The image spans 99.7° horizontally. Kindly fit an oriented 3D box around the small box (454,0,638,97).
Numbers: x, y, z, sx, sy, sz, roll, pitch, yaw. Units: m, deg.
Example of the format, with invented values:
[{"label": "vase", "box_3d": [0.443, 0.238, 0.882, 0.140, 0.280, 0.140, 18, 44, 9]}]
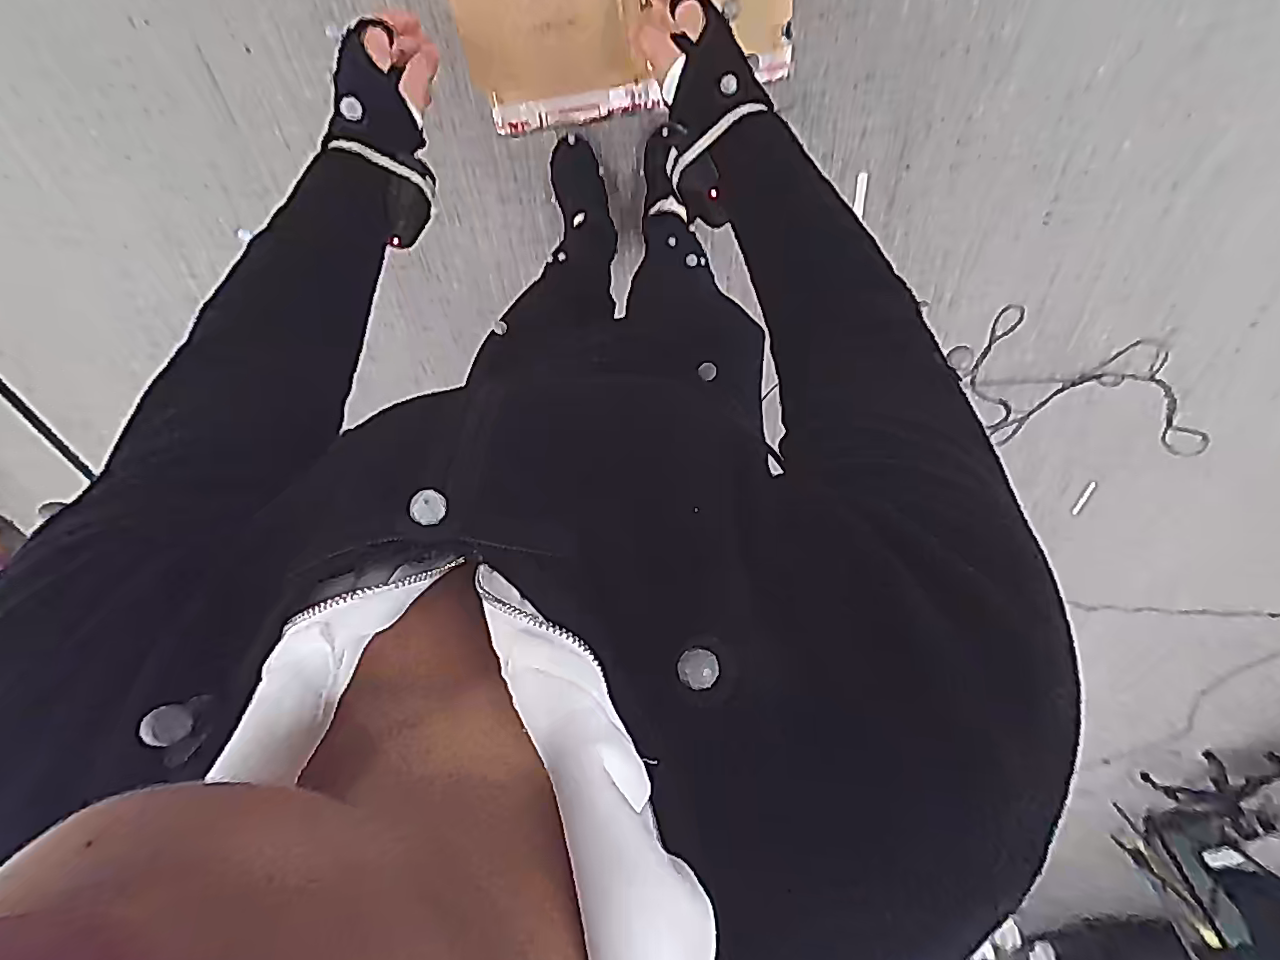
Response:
[{"label": "small box", "box_3d": [-0.096, -0.527, 0.558, 0.168, 0.176, 0.179, -4, 135, 8]}]
